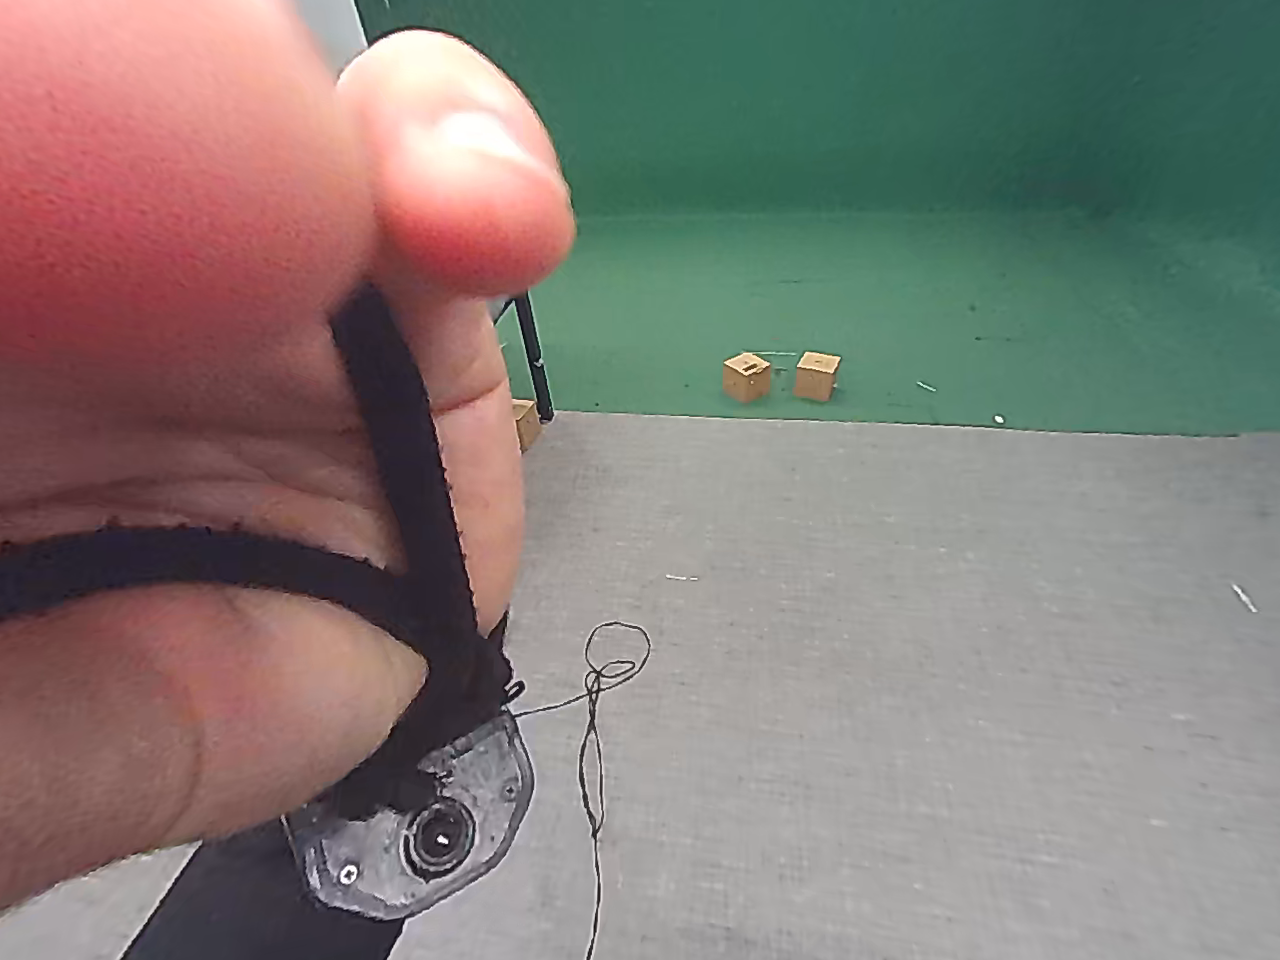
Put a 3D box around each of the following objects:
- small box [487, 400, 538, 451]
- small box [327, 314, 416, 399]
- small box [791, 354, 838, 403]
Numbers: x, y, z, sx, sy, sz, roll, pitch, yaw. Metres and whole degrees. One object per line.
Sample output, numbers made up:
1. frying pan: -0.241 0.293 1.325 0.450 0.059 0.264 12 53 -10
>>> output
1. small box: -0.591 -0.254 2.542 0.168 0.176 0.179 7 41 13
2. small box: -0.773 -0.352 1.564 0.168 0.176 0.179 -26 45 -22
3. small box: 0.864 -0.504 2.683 0.179 0.176 0.168 17 46 23
